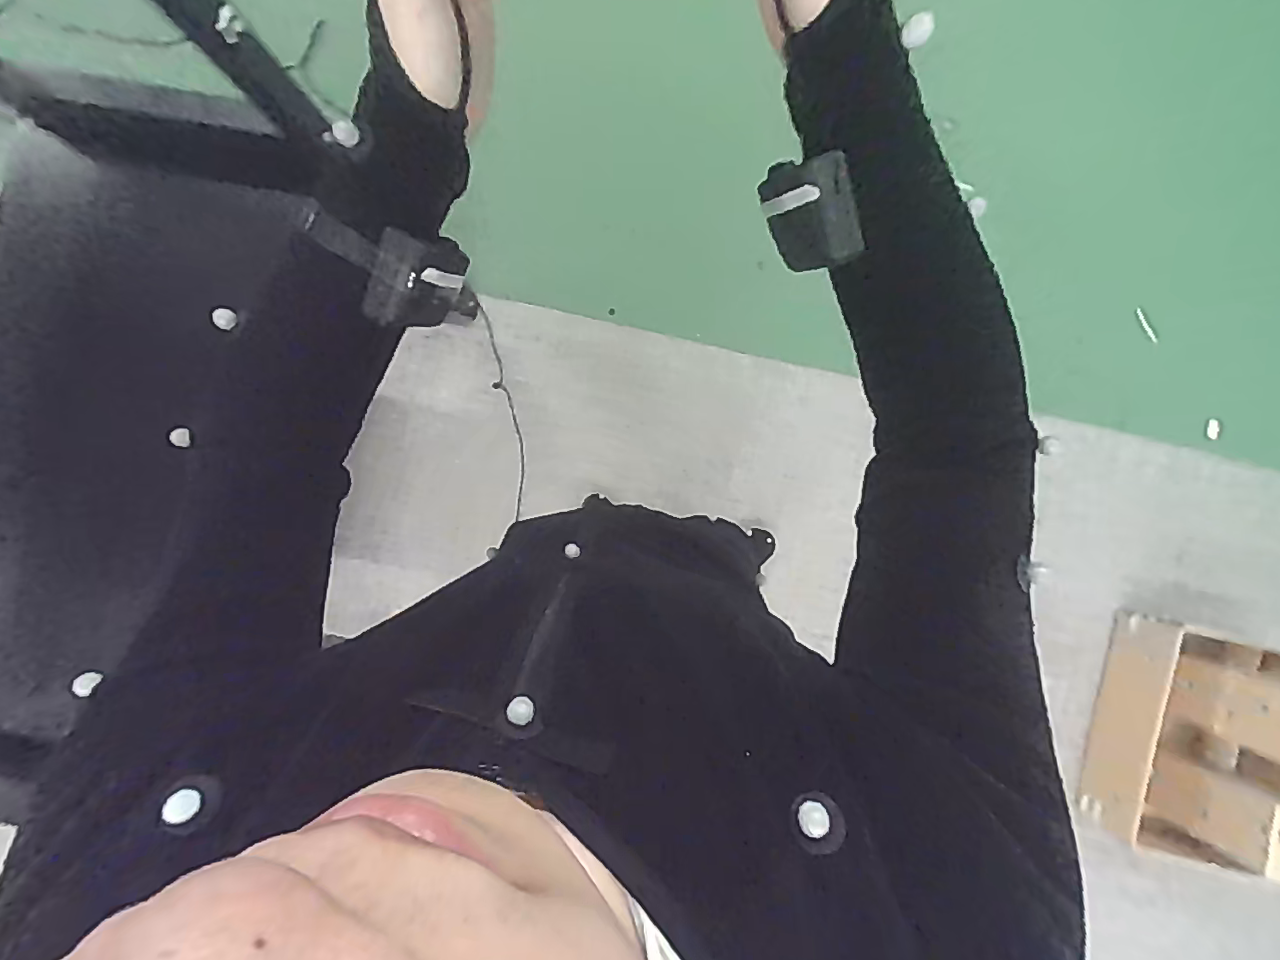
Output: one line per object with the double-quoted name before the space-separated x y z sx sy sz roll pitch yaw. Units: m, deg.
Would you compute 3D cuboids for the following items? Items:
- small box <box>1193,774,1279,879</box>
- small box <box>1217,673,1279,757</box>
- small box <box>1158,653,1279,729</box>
"small box" 1.525 0.846 1.313 0.179 0.176 0.168 13 86 0
"small box" 1.589 0.590 1.322 0.179 0.176 0.168 12 89 0
"small box" 1.592 0.589 1.483 0.179 0.176 0.168 13 89 1
